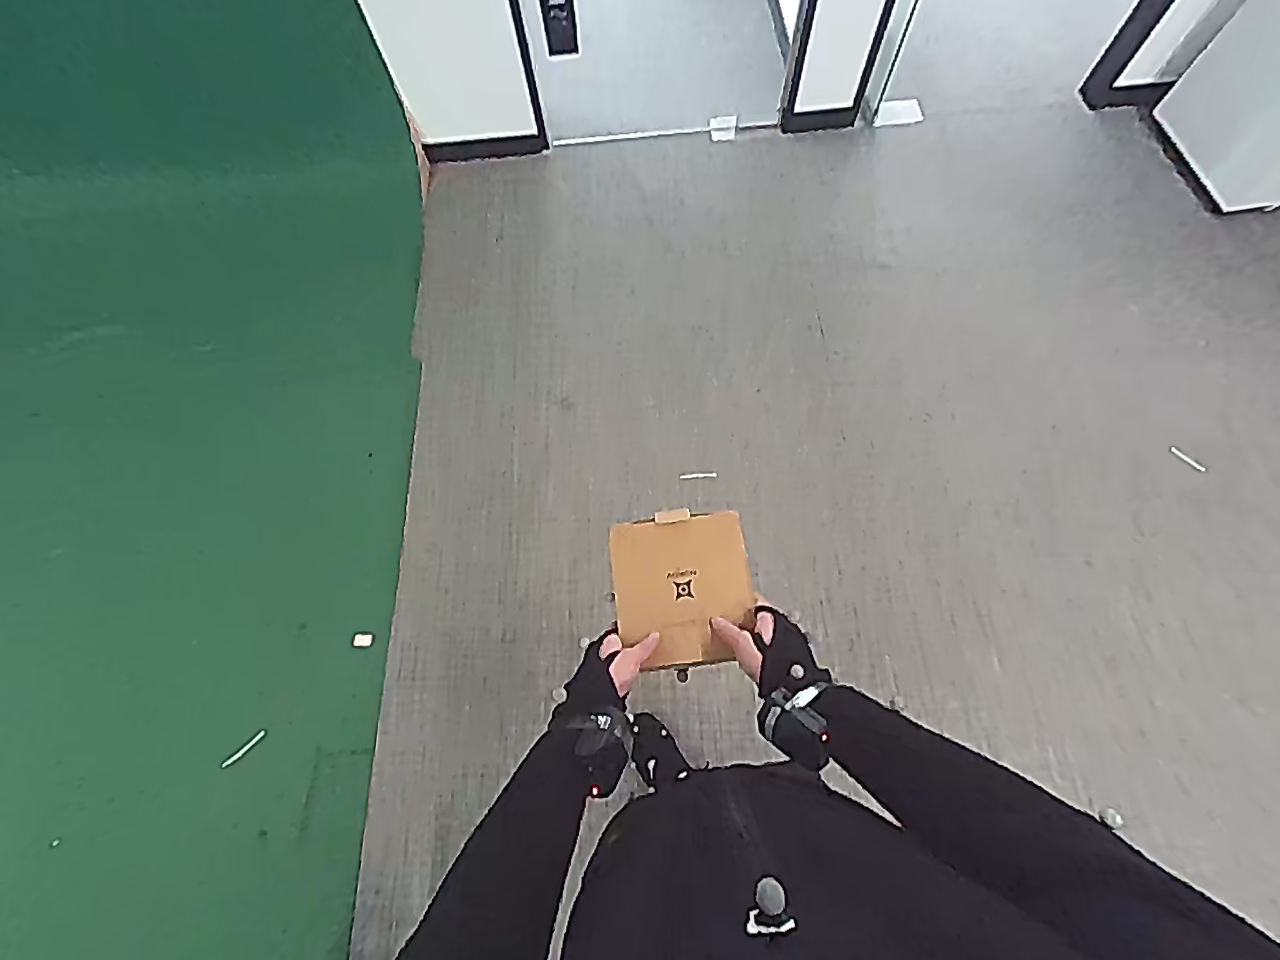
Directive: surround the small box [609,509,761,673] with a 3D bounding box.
[{"bbox_3d":[0.053,0.151,0.702,0.168,0.176,0.179,-6,69,3],"label":"small box"}]
